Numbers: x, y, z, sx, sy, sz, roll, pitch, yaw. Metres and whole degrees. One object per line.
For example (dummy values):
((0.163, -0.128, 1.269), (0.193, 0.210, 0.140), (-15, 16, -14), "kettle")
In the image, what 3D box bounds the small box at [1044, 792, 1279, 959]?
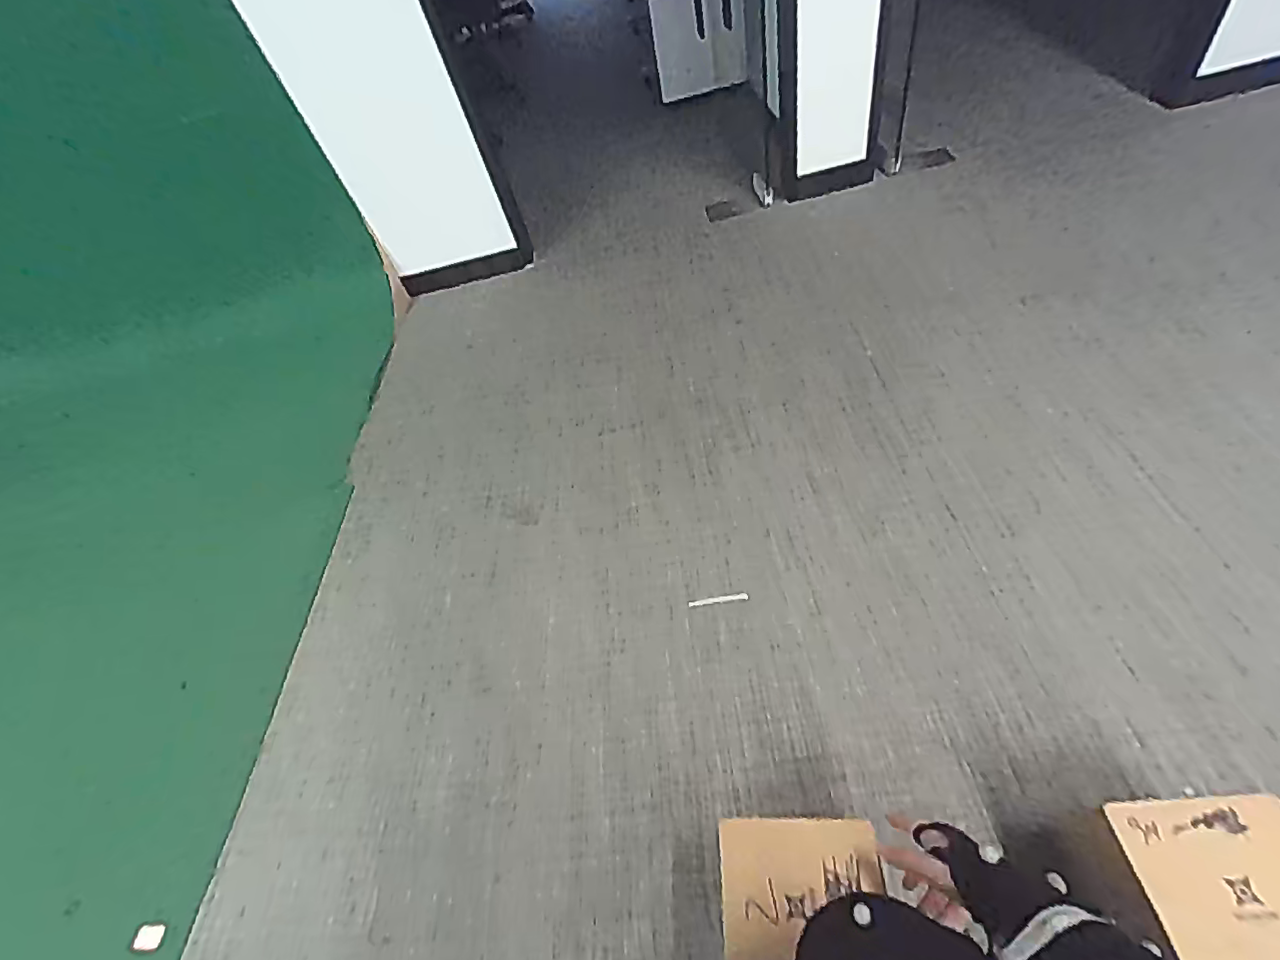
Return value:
((0.580, 0.446, 0.573), (0.168, 0.176, 0.179), (-8, 50, 9), "small box")
